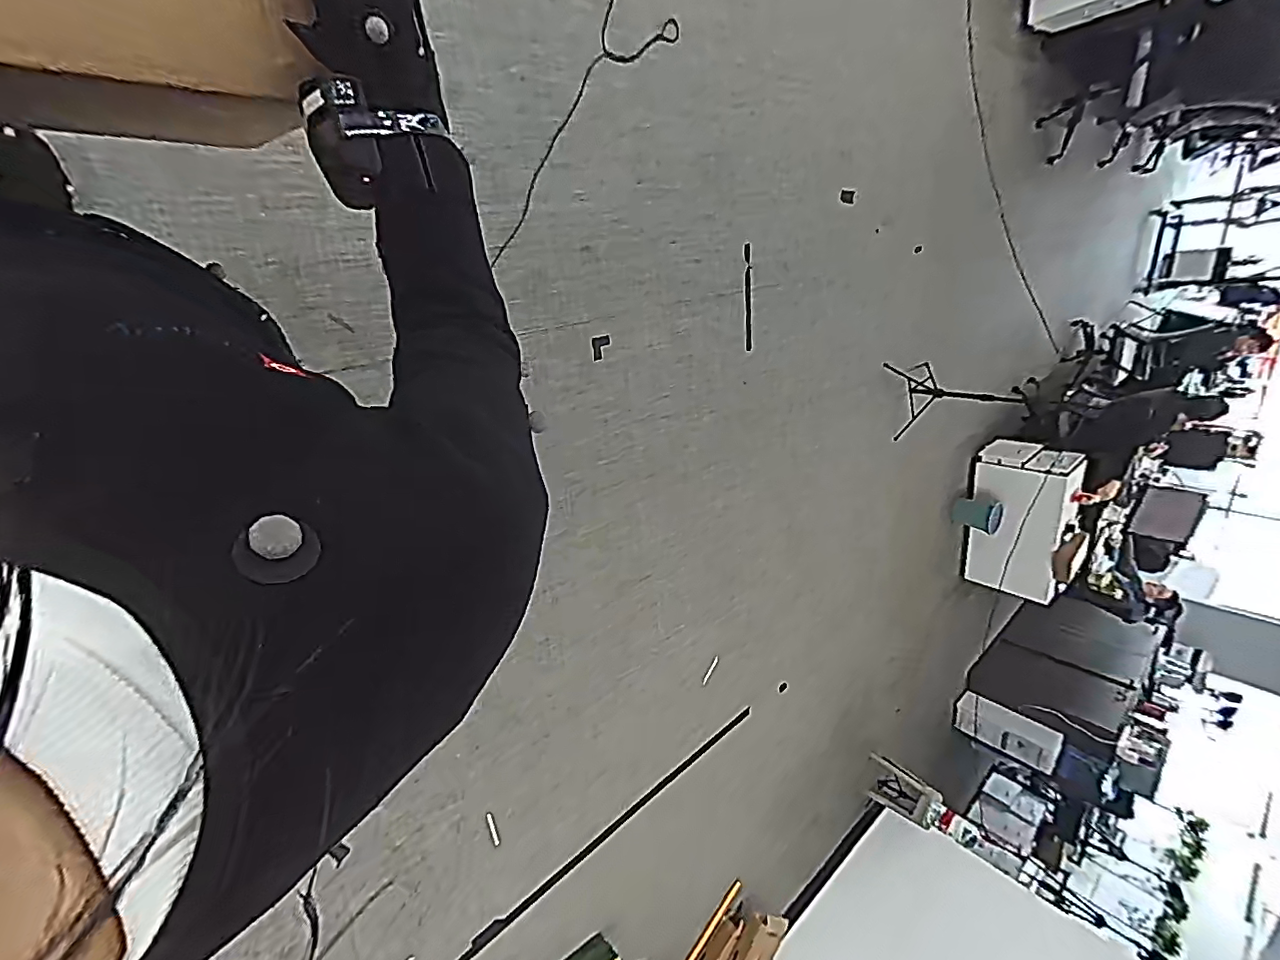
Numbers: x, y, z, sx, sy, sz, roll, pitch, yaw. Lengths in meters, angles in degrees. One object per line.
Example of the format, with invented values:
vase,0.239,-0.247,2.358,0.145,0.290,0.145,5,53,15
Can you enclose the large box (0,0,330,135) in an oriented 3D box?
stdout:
large box,-0.463,-0.401,0.295,0.408,0.320,0.320,-20,124,-38
